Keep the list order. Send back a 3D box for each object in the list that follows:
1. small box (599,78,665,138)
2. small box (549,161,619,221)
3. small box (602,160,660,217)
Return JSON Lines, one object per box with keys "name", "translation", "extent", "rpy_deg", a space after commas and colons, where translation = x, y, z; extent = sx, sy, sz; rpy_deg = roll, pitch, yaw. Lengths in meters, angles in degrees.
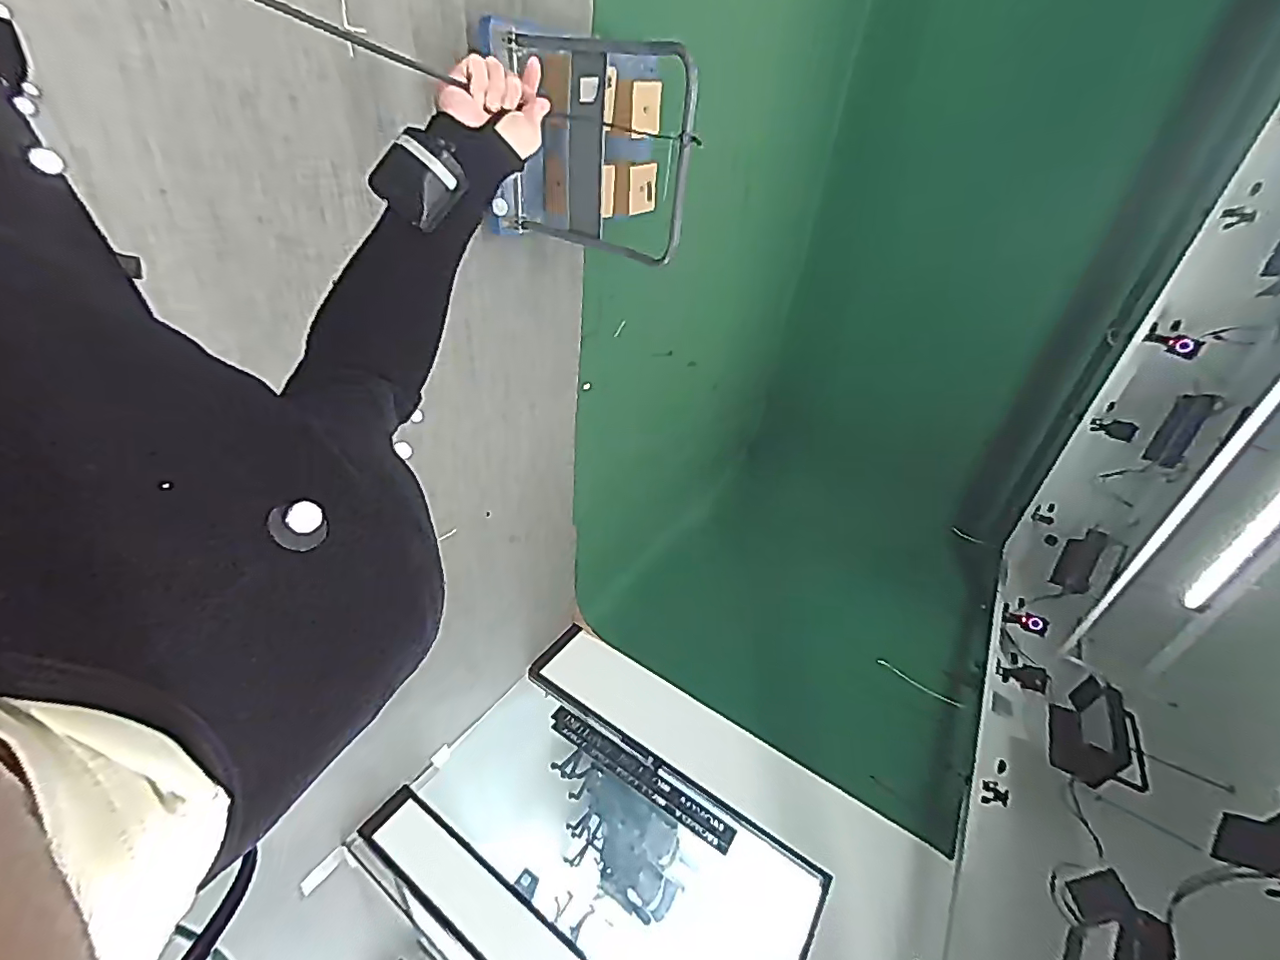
{"name": "small box", "translation": [-0.033, -1.333, 1.939], "extent": [0.179, 0.176, 0.168], "rpy_deg": [-39, 145, -42]}
{"name": "small box", "translation": [-0.197, -1.020, 1.902], "extent": [0.179, 0.176, 0.168], "rpy_deg": [-35, 141, -45]}
{"name": "small box", "translation": [-0.042, -1.133, 2.092], "extent": [0.179, 0.176, 0.168], "rpy_deg": [-38, 143, -41]}
